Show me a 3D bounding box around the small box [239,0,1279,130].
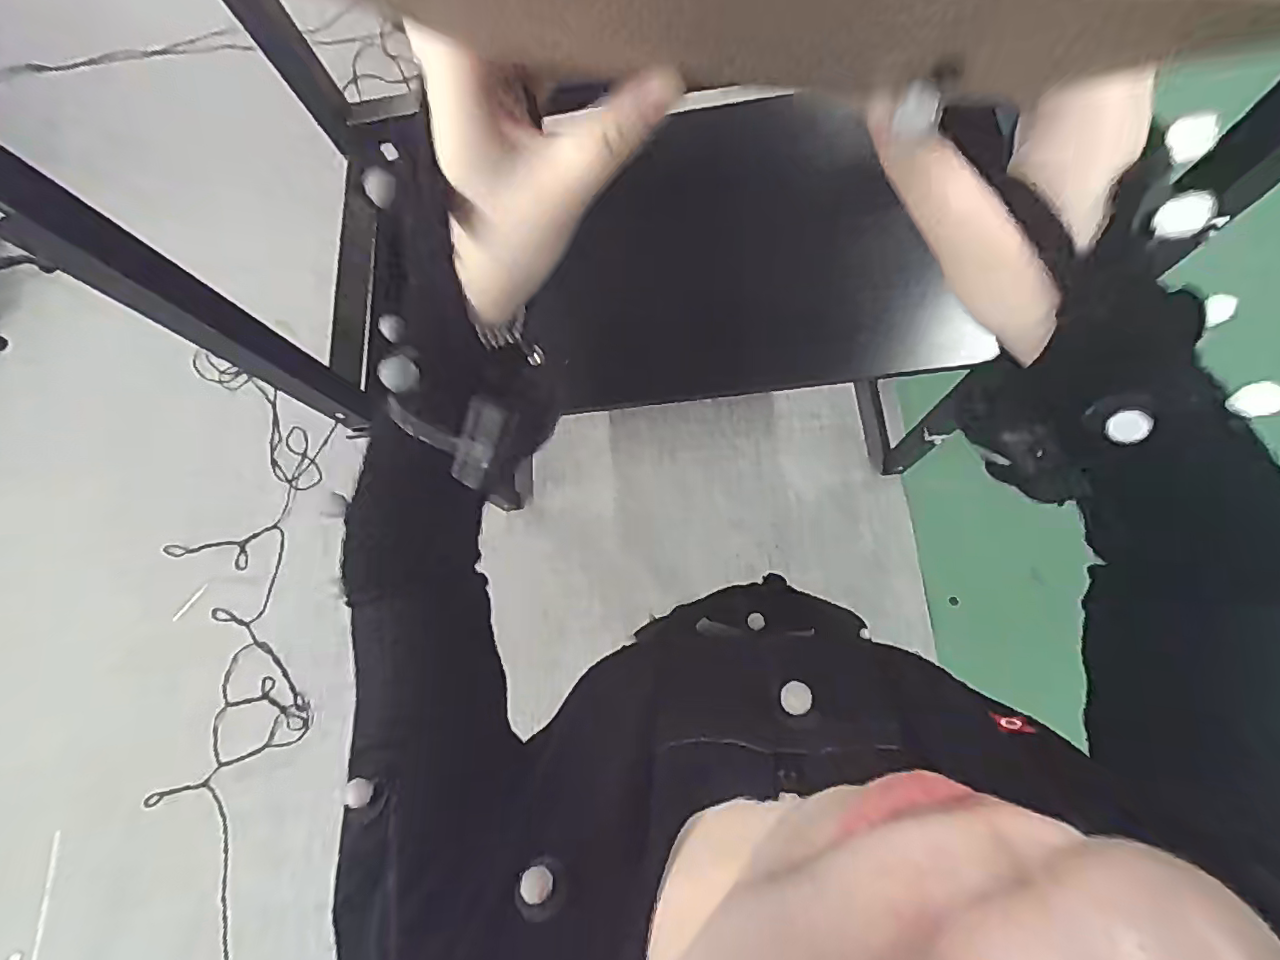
[{"bbox_3d":[0.035,-0.174,0.108,0.179,0.176,0.168,7,121,6],"label":"small box"}]
